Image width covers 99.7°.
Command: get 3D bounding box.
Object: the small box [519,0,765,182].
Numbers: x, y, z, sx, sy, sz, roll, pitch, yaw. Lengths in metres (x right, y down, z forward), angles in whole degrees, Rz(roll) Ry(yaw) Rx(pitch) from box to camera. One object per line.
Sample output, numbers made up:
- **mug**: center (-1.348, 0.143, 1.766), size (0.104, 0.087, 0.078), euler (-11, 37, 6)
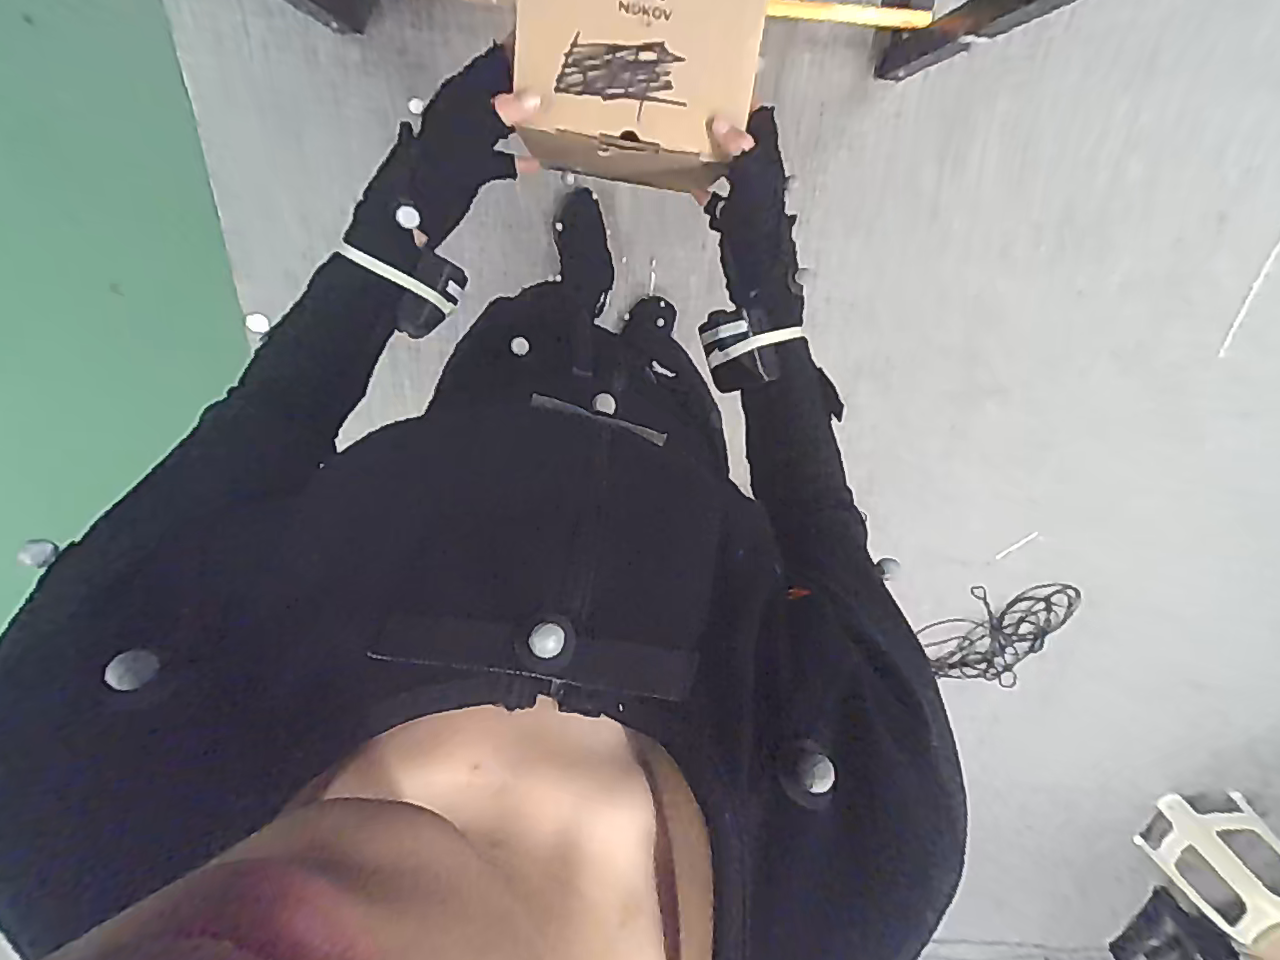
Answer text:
- **small box**: center (0.001, -0.360, 0.442), size (0.168, 0.176, 0.179), euler (6, 110, -7)
